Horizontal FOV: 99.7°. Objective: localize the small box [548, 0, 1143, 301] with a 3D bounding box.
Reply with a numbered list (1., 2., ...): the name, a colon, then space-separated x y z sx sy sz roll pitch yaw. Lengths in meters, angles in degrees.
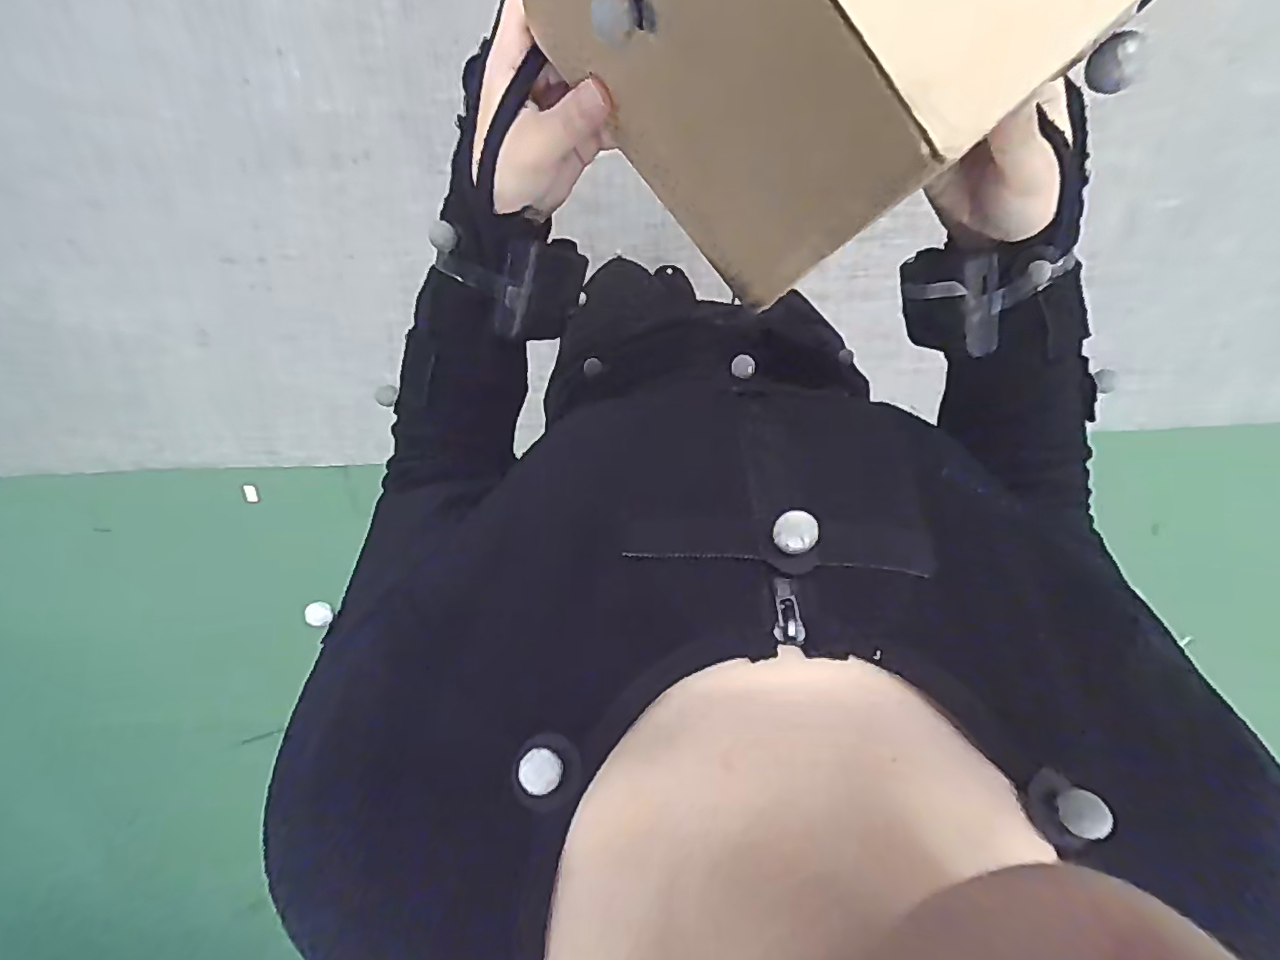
1. small box: 0.072 -0.195 0.195 0.168 0.176 0.179 -41 95 3
